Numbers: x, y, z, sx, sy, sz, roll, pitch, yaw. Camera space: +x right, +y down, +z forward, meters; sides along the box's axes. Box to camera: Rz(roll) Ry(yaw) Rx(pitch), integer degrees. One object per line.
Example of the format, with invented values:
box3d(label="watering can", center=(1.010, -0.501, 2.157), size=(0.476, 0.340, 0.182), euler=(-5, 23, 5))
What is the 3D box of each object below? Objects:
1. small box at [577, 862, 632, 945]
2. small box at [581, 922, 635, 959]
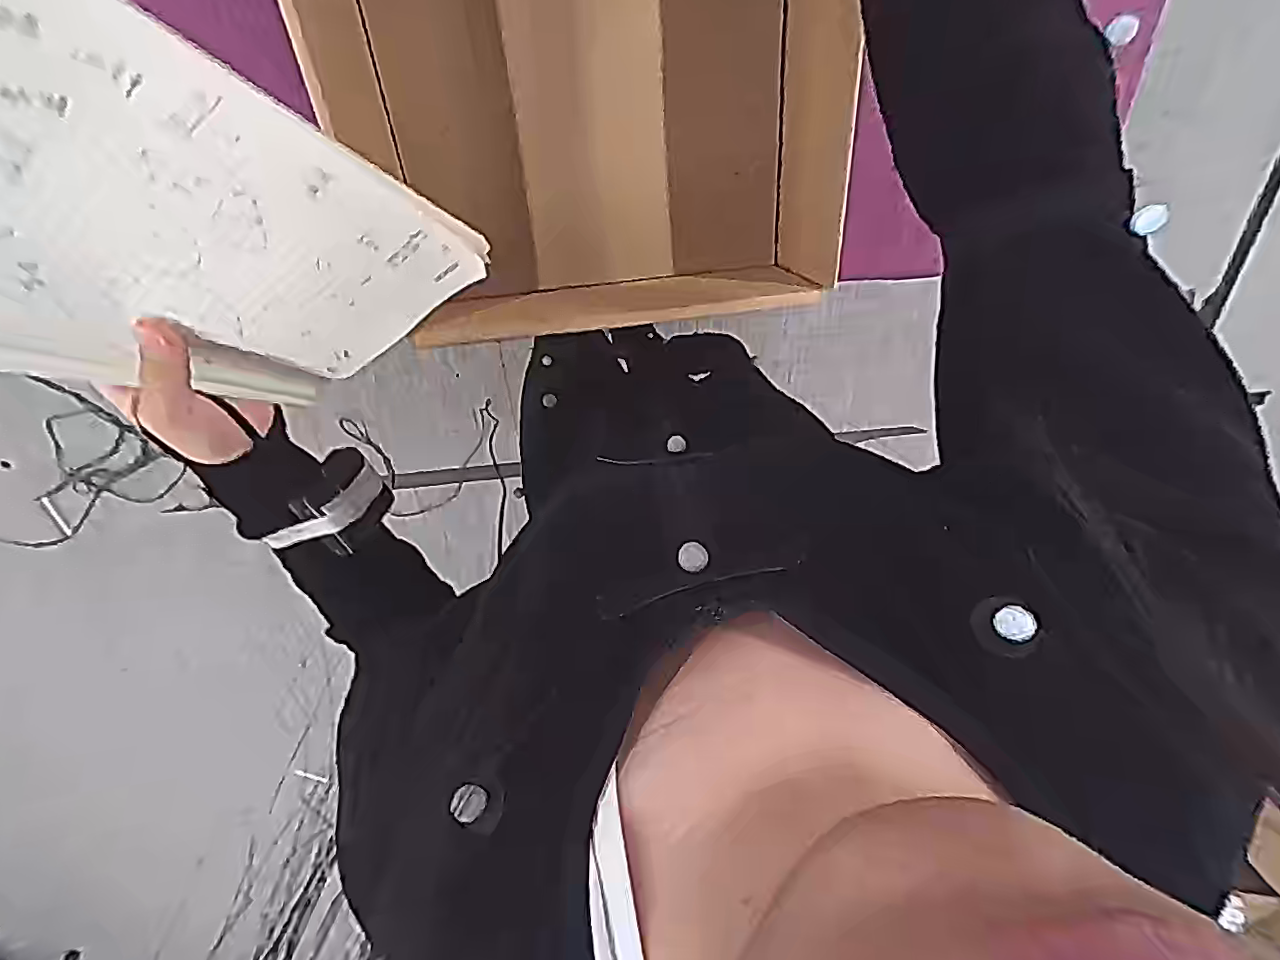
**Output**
box3d(label="small box", center=(-0.124, 1.438, 1.840), size=(0.179, 0.176, 0.168), euler=(-4, 123, -7))
box3d(label="small box", center=(-0.102, 1.535, 1.708), size=(0.168, 0.176, 0.179), euler=(-2, 122, -7))
